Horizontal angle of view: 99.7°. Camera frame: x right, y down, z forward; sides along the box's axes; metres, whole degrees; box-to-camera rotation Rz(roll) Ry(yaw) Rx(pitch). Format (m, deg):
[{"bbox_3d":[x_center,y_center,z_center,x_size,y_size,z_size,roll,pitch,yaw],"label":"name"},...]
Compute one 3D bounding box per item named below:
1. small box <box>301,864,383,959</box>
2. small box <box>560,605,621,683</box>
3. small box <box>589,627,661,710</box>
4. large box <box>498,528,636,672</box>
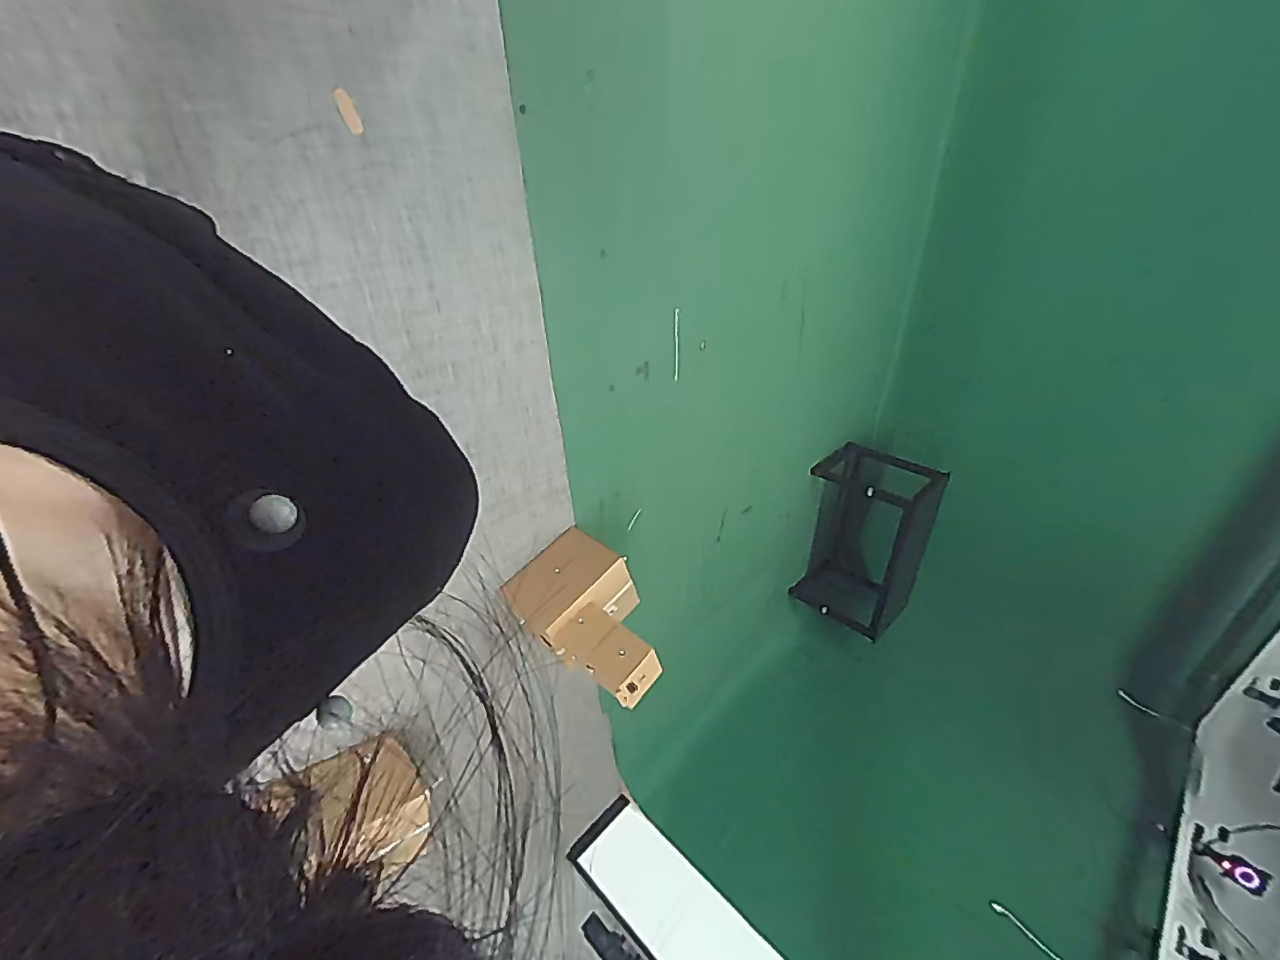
[{"bbox_3d":[-0.871,1.281,1.574,0.168,0.176,0.179,-10,119,-46],"label":"small box"},{"bbox_3d":[-0.174,0.597,1.986,0.179,0.176,0.168,-38,136,-29],"label":"small box"},{"bbox_3d":[-0.058,0.653,1.884,0.179,0.176,0.168,-43,137,-27],"label":"small box"},{"bbox_3d":[-0.288,0.474,2.185,0.408,0.320,0.320,-43,139,-26],"label":"large box"}]
